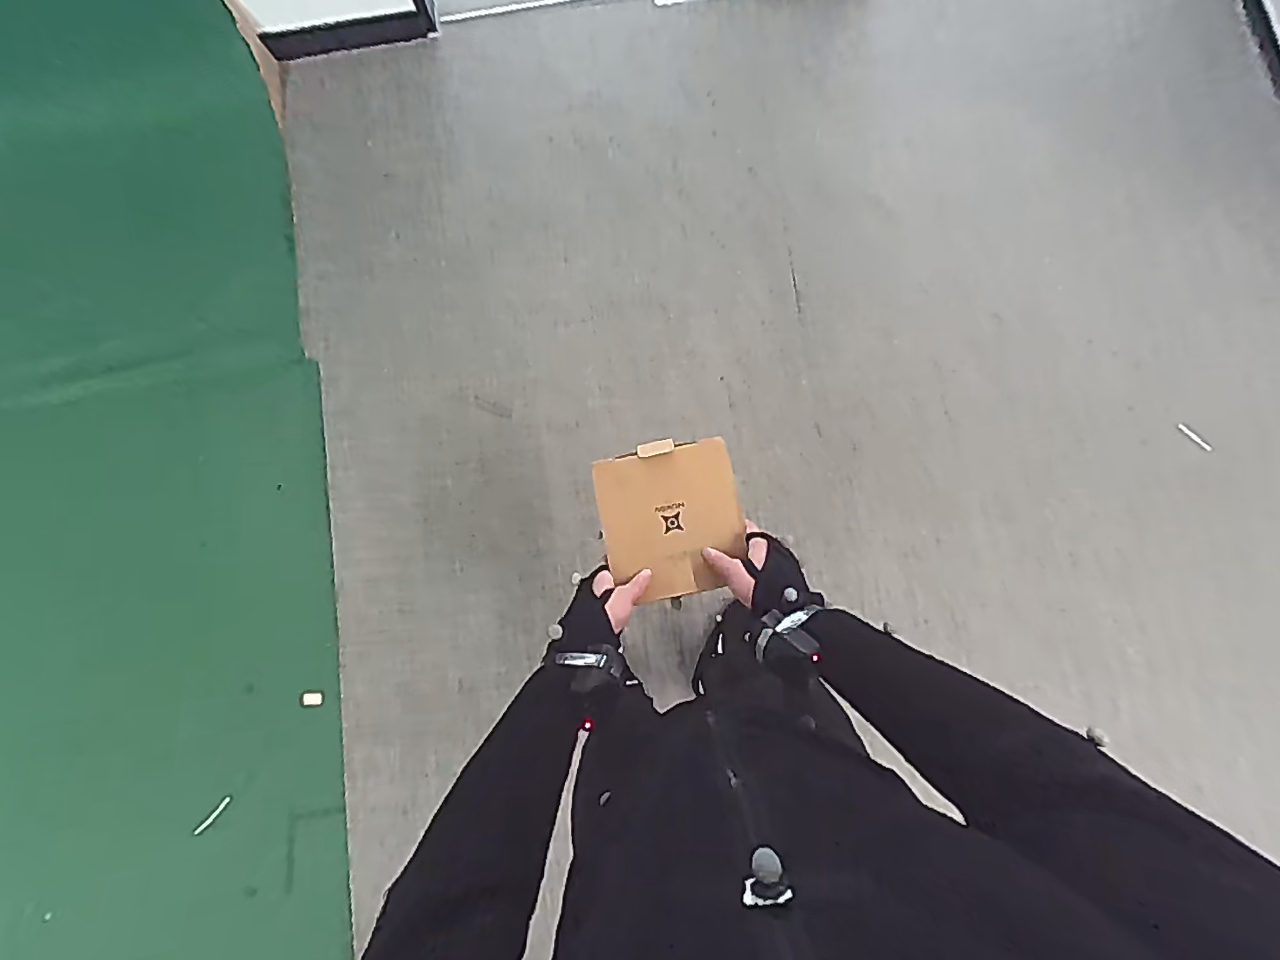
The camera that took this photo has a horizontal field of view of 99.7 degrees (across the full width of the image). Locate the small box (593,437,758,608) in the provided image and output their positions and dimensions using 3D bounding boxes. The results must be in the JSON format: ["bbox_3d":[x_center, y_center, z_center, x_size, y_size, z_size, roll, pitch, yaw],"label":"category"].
[{"bbox_3d":[0.041,0.063,0.689,0.168,0.176,0.179,-10,78,2],"label":"small box"}]
